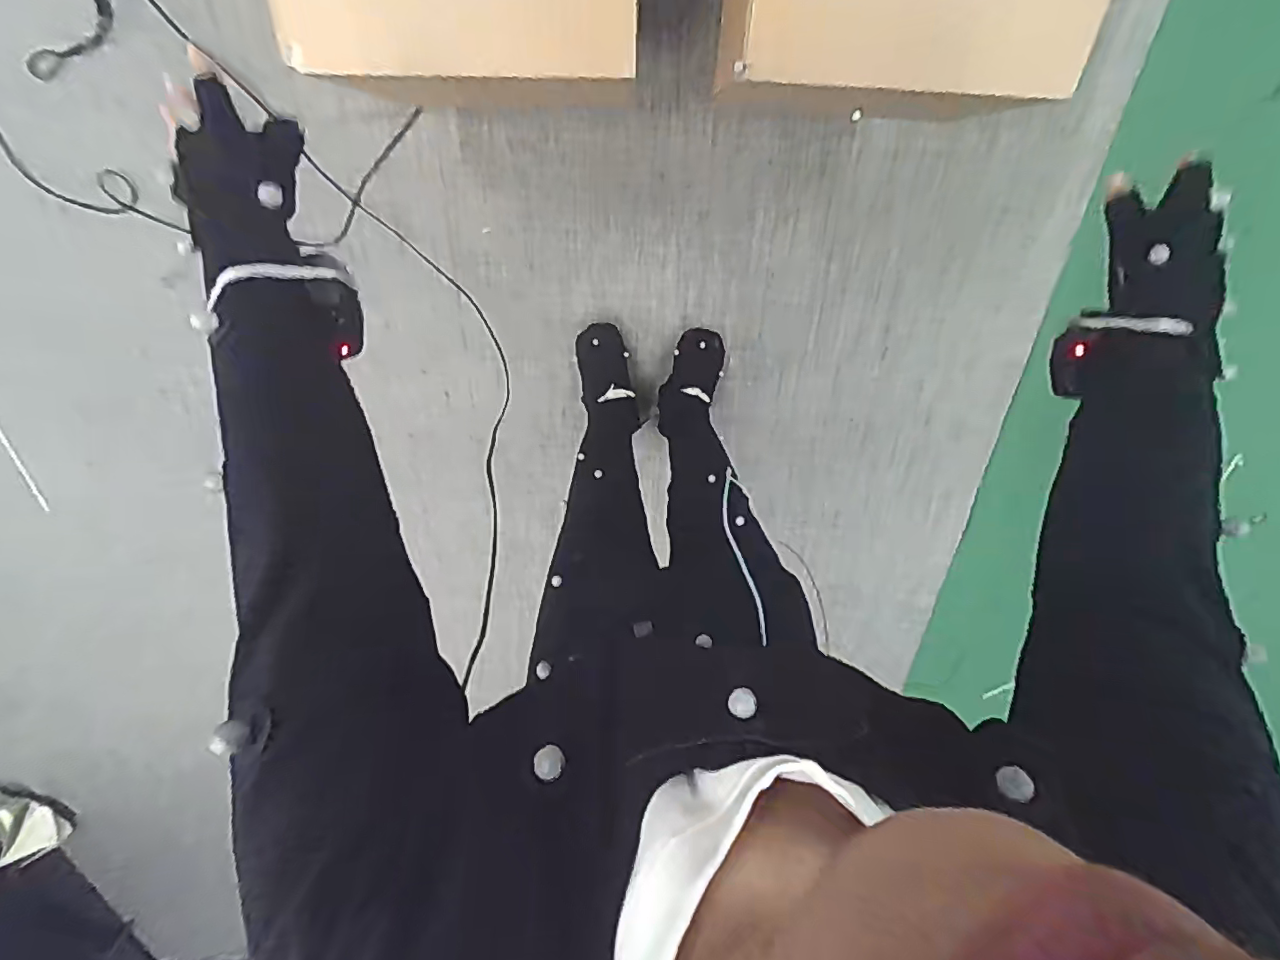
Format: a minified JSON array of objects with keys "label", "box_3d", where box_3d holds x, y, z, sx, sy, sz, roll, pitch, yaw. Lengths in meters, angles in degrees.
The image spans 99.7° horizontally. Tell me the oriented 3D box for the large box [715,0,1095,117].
[{"label":"large box","box_3d":[0.331,-0.681,0.718,0.408,0.320,0.320,3,119,-1]}]
